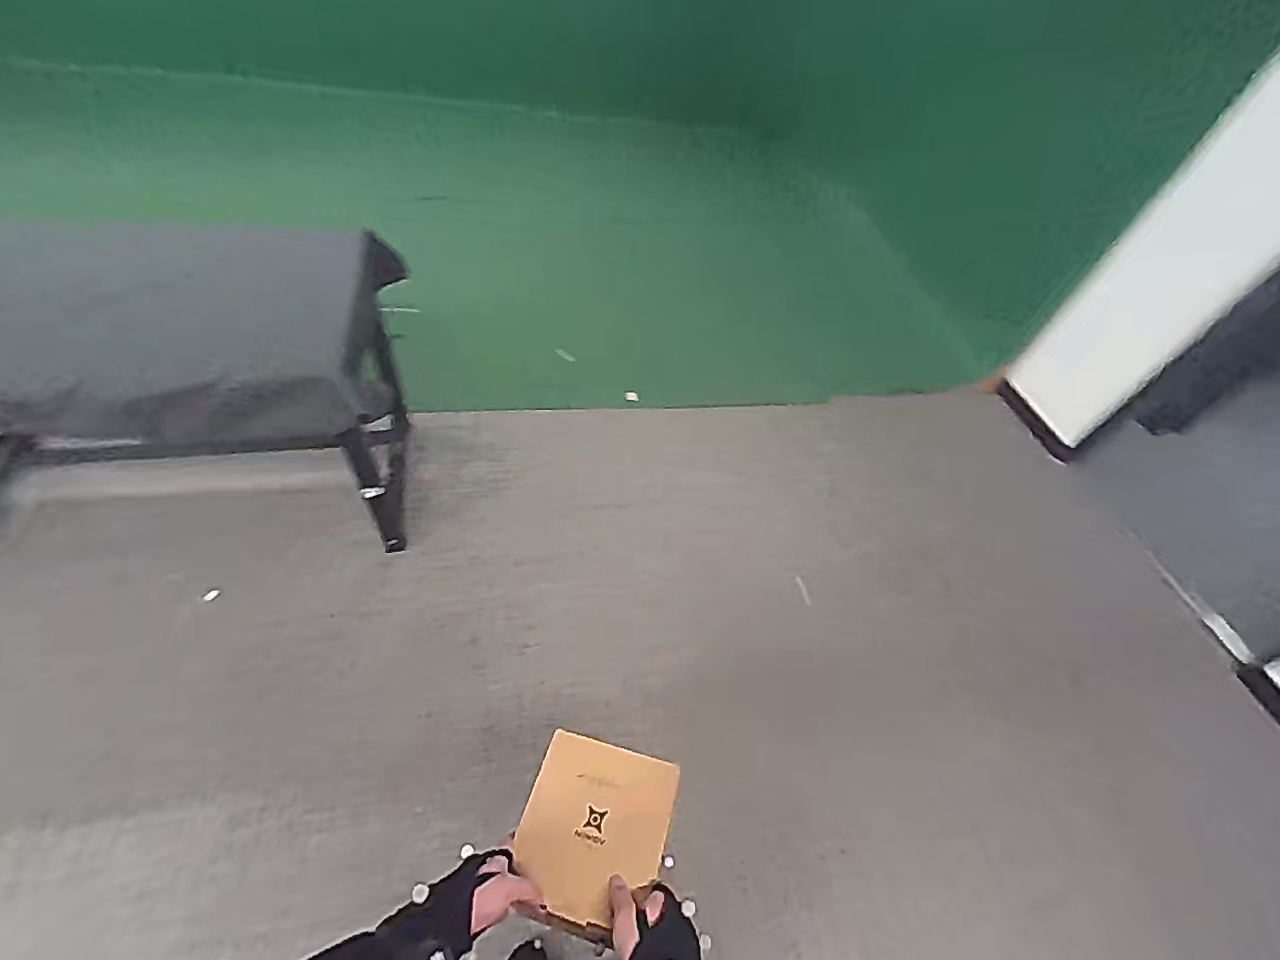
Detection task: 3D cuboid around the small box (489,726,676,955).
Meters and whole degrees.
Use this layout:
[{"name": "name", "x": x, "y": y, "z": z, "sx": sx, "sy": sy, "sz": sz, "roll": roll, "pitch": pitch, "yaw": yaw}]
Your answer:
[{"name": "small box", "x": -0.057, "y": 0.437, "z": 0.656, "sx": 0.168, "sy": 0.176, "sz": 0.179, "roll": 11, "pitch": 44, "yaw": 10}]
